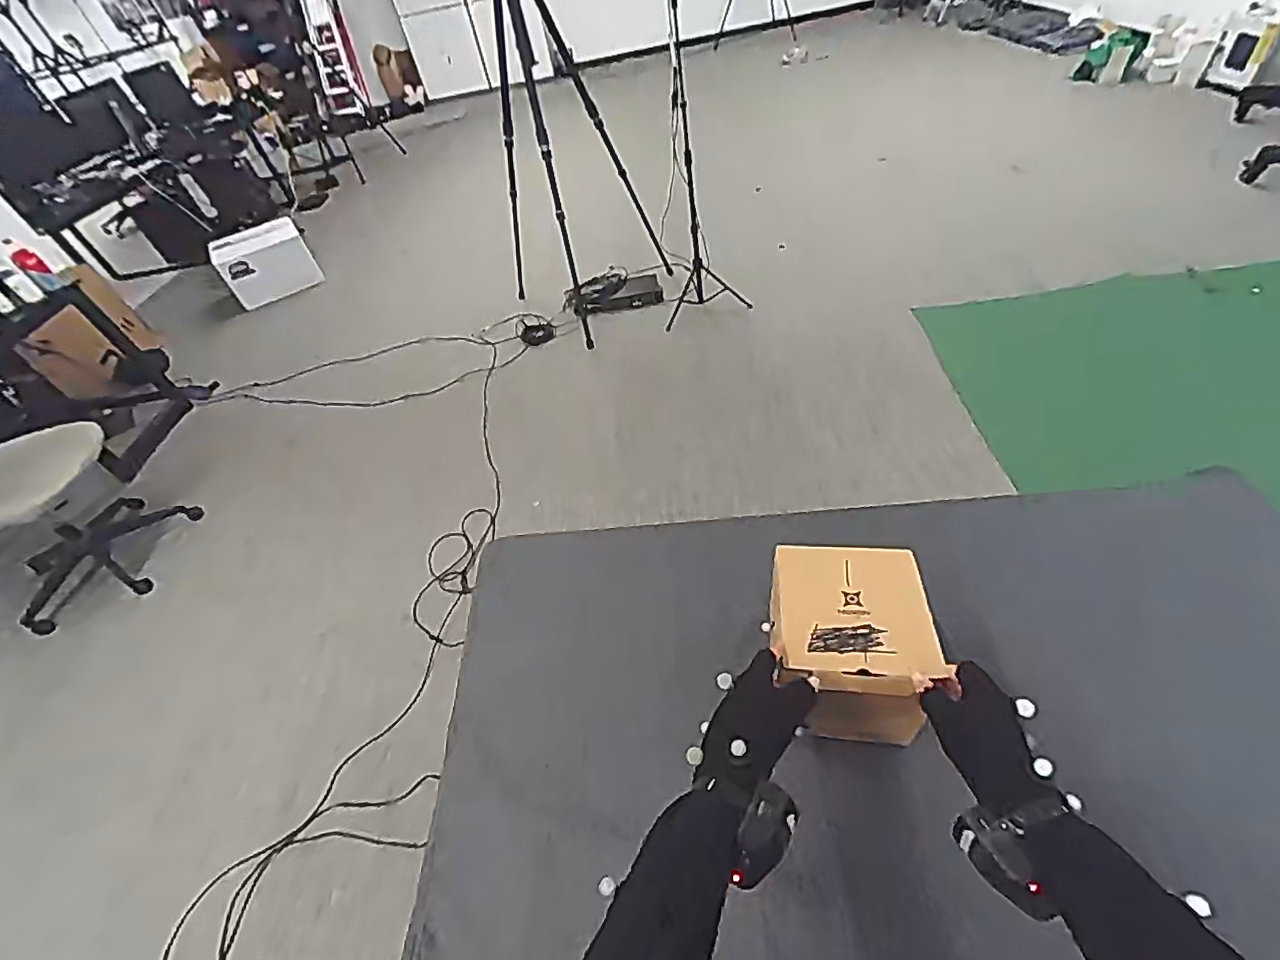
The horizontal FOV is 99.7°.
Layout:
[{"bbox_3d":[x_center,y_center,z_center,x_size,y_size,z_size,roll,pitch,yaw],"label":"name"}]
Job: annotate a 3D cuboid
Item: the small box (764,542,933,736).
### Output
[{"bbox_3d":[0.245,0.200,0.679,0.168,0.176,0.179,1,45,11],"label":"small box"}]
